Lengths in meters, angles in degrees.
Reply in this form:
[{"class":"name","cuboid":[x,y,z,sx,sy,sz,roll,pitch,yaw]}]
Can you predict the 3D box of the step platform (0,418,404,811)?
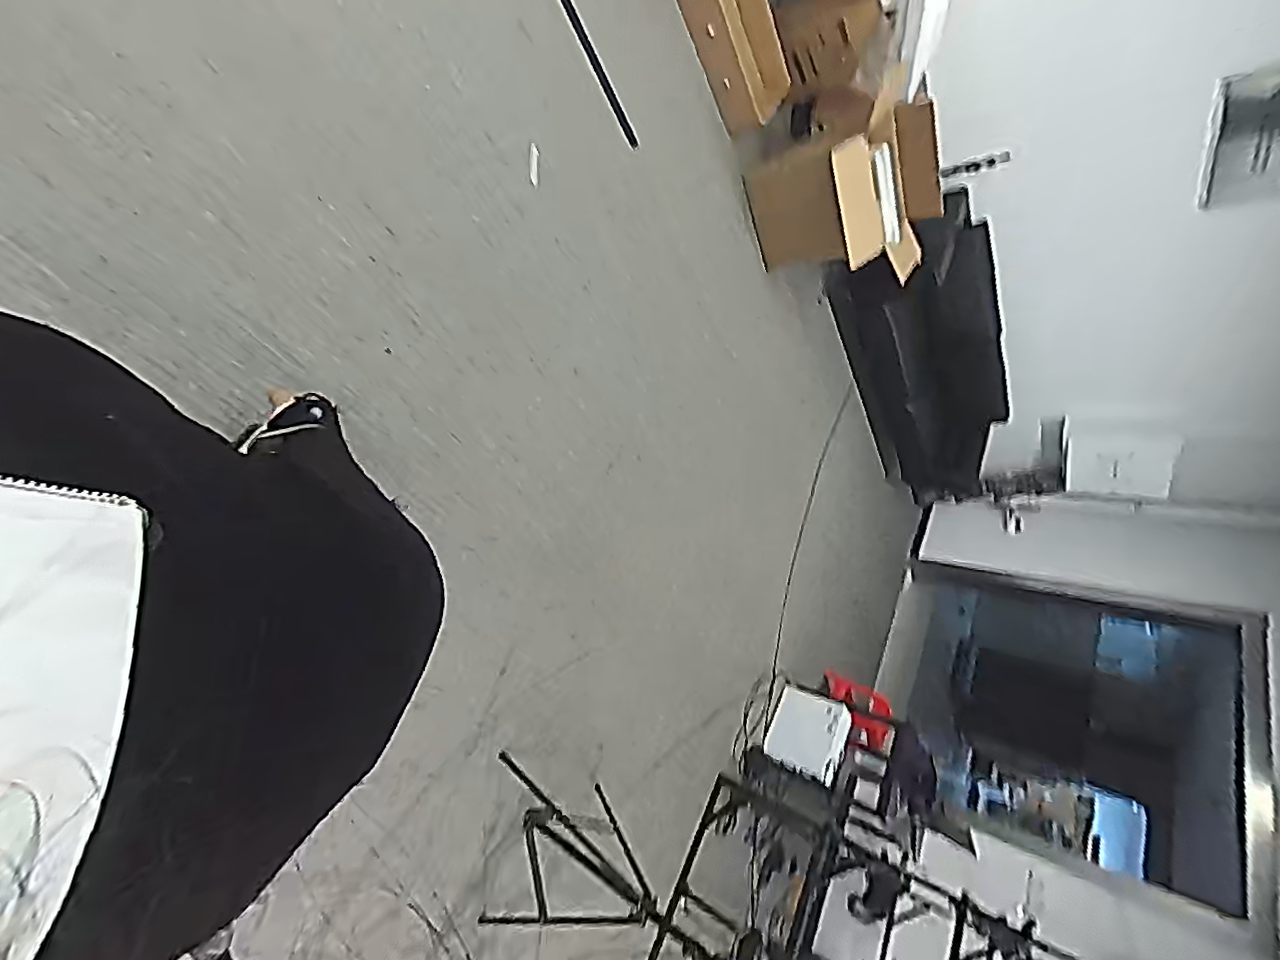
[{"class":"step platform","cuboid":[-0.774,0.213,1.017,0.286,0.204,0.684,50,59,-41]}]
